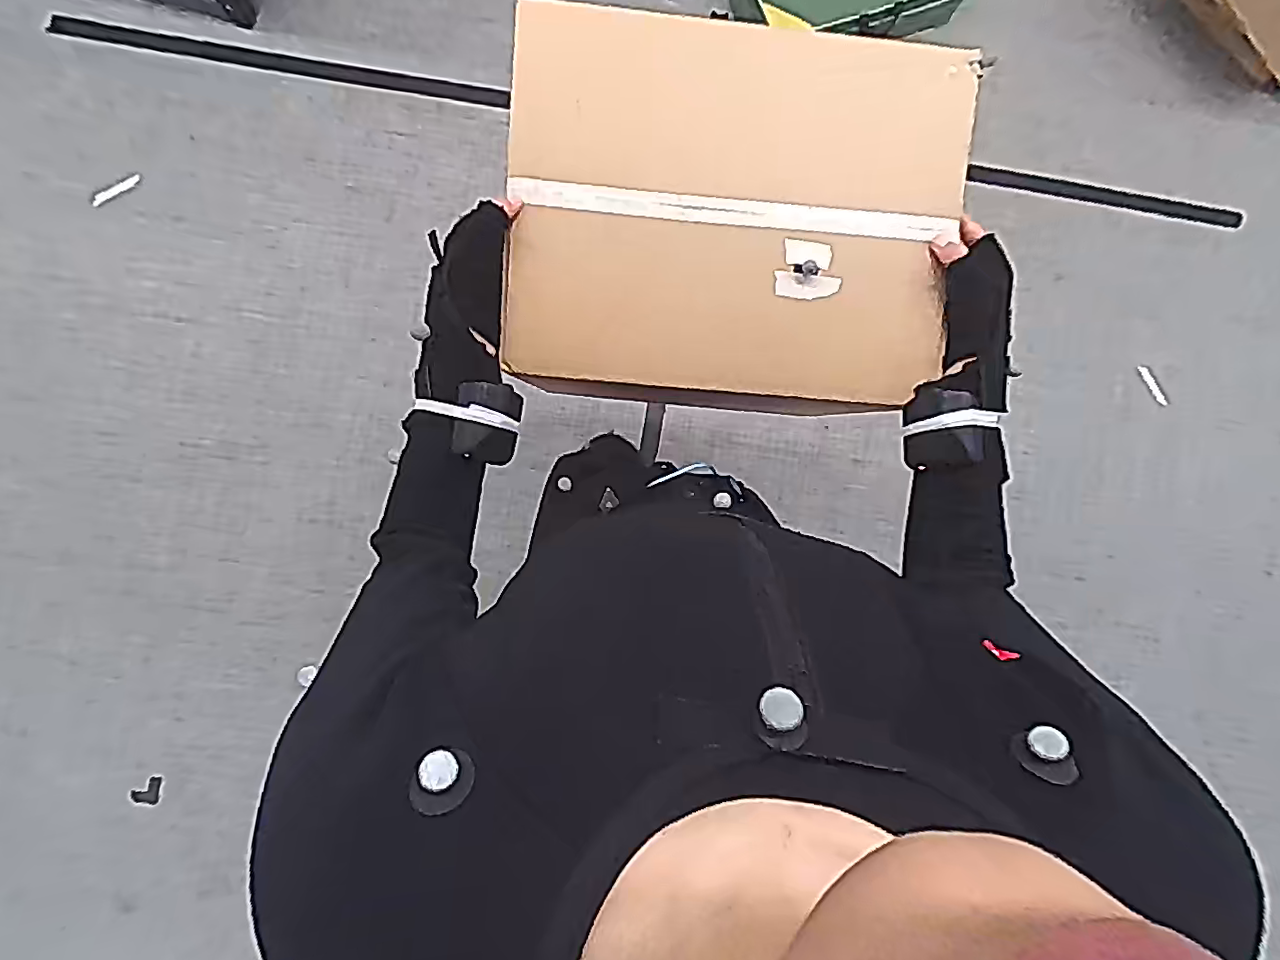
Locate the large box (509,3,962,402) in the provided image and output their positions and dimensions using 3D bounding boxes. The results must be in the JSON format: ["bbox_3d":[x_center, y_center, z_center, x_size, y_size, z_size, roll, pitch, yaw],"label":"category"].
[{"bbox_3d":[0.076,-0.265,0.640,0.408,0.320,0.320,4,97,-4],"label":"large box"}]
